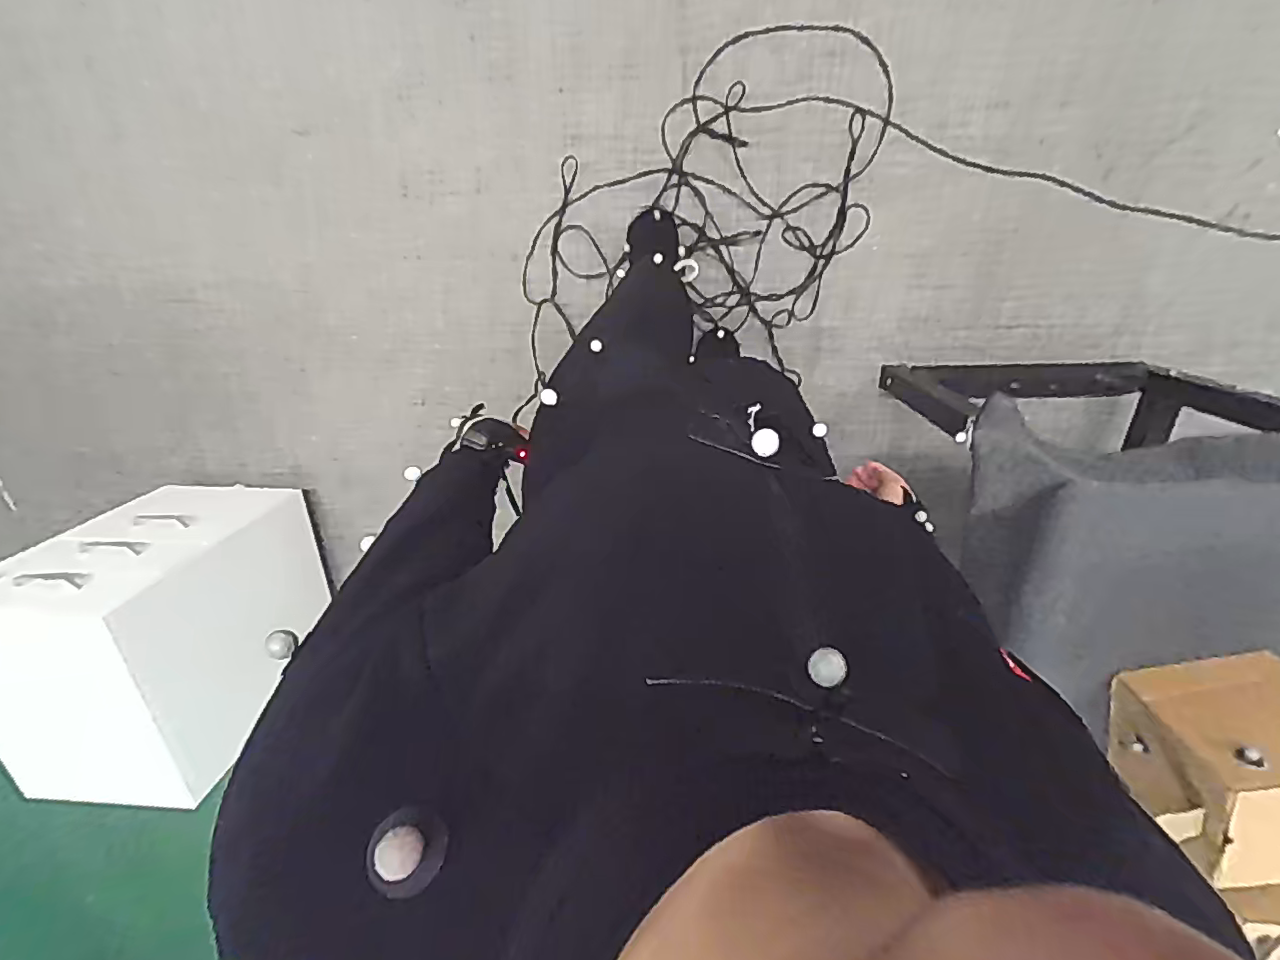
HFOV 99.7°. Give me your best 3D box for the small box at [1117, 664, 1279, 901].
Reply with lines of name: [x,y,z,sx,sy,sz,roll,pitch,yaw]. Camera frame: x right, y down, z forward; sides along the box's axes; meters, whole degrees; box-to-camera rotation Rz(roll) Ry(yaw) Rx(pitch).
small box: [0.709,0.337,0.622,0.179,0.176,0.168,-14,112,10]
